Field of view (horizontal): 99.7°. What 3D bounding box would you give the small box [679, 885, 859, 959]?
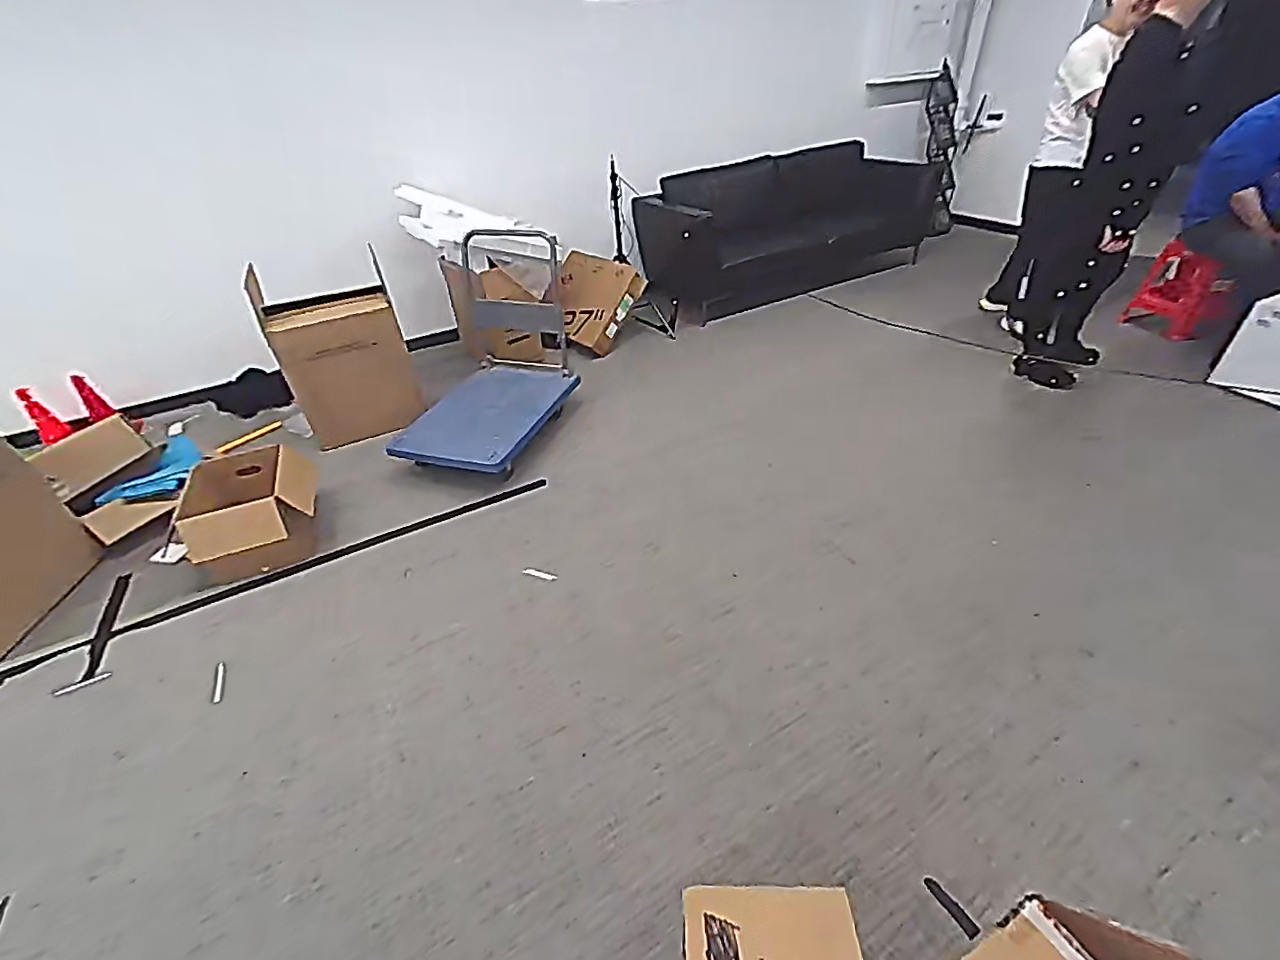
[{"bbox_3d":[0.134,0.548,0.544,0.179,0.176,0.168,-4,23,6],"label":"small box"}]
